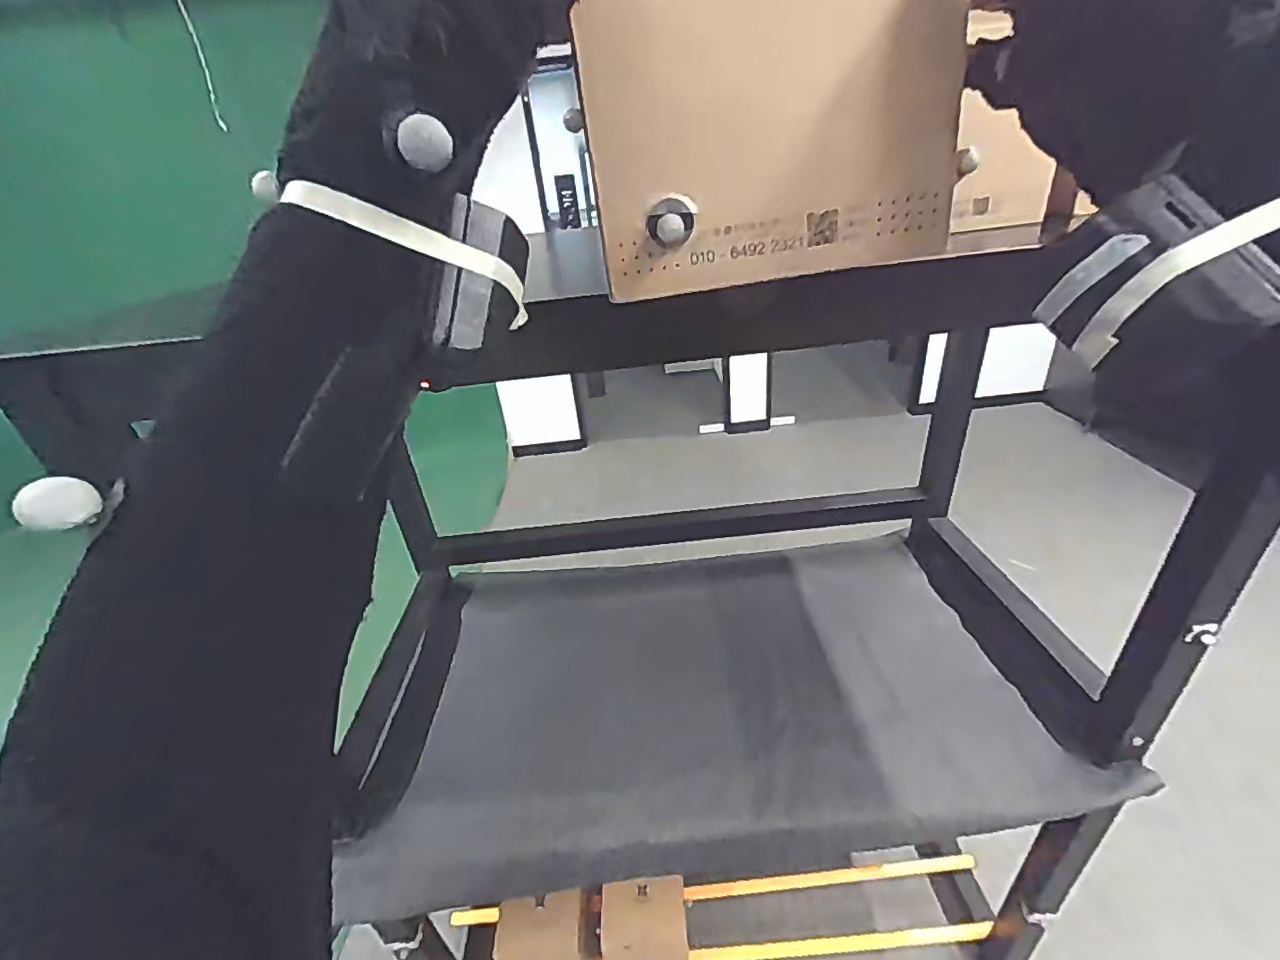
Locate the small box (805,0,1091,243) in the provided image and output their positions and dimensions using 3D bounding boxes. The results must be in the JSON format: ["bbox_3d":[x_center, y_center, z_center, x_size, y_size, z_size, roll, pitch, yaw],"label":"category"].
[{"bbox_3d":[0.267,-0.332,0.524,0.168,0.176,0.179,-6,31,1],"label":"small box"}]
